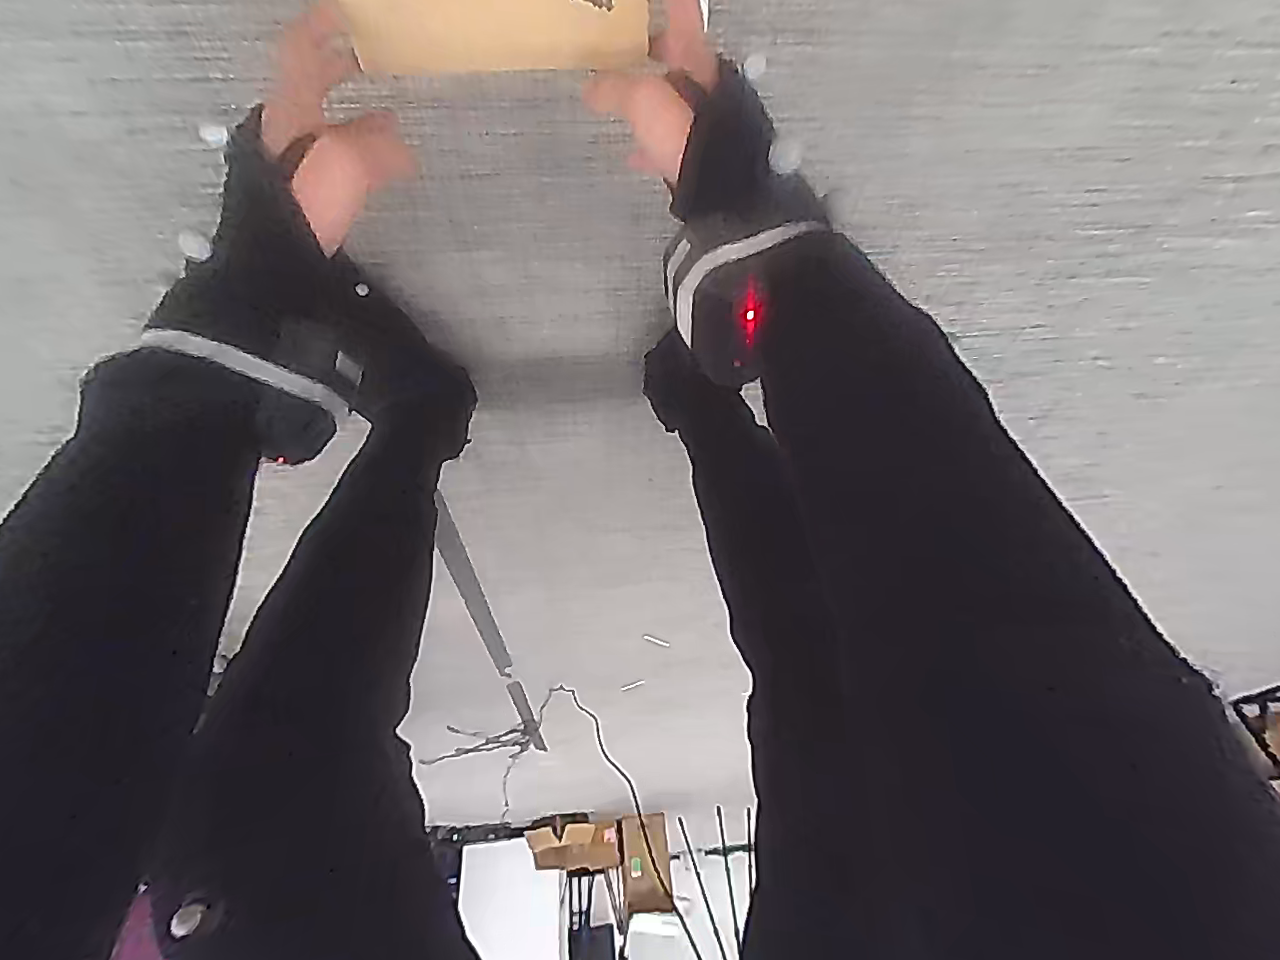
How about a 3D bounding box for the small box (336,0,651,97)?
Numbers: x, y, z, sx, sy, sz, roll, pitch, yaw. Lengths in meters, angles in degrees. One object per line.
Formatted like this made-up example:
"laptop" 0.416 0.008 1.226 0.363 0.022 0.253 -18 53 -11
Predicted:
"small box" -0.089 -0.355 0.319 0.179 0.176 0.168 -5 143 -3
